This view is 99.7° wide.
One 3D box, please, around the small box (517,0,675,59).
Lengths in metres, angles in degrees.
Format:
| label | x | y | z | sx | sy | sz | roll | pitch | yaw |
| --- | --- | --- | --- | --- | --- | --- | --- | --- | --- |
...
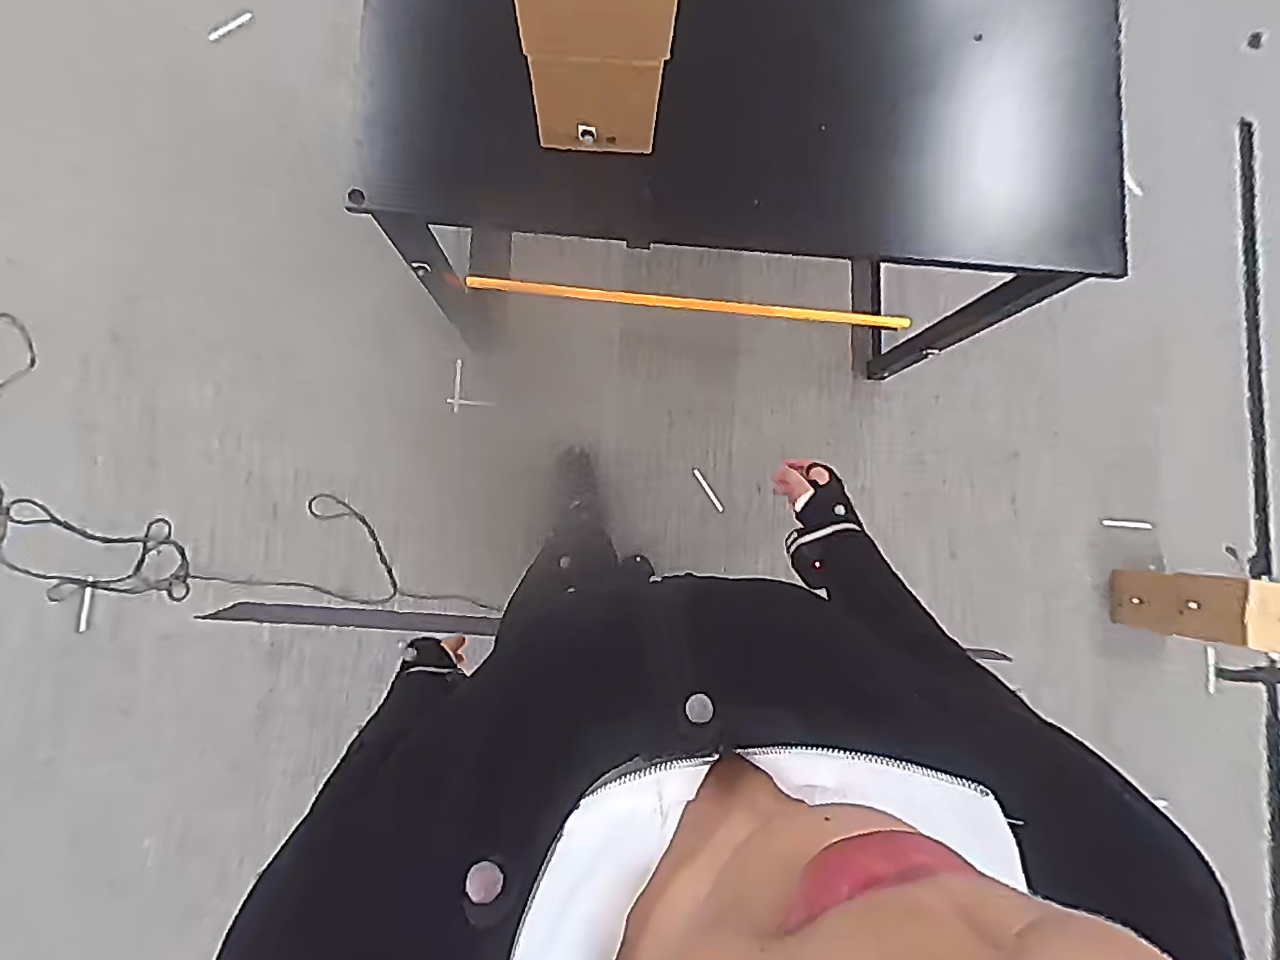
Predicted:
| label | x | y | z | sx | sy | sz | roll | pitch | yaw |
| --- | --- | --- | --- | --- | --- | --- | --- | --- | --- |
| small box | -0.048 | -0.591 | 0.573 | 0.179 | 0.176 | 0.168 | -1 | 86 | -5 |

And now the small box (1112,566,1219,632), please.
| label | x | y | z | sx | sy | sz | roll | pitch | yaw |
| --- | --- | --- | --- | --- | --- | --- | --- | --- | --- |
| small box | 1.484 | 0.334 | 1.527 | 0.179 | 0.176 | 0.168 | 3 | 86 | -4 |

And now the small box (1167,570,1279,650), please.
| label | x | y | z | sx | sy | sz | roll | pitch | yaw |
| --- | --- | --- | --- | --- | --- | --- | --- | --- | --- |
| small box | 1.500 | 0.324 | 1.362 | 0.179 | 0.176 | 0.168 | 8 | 85 | -4 |

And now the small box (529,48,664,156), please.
| label | x | y | z | sx | sy | sz | roll | pitch | yaw |
| --- | --- | --- | --- | --- | --- | --- | --- | --- | --- |
| small box | -0.059 | -0.582 | 0.737 | 0.168 | 0.176 | 0.179 | -1 | 87 | -4 |
